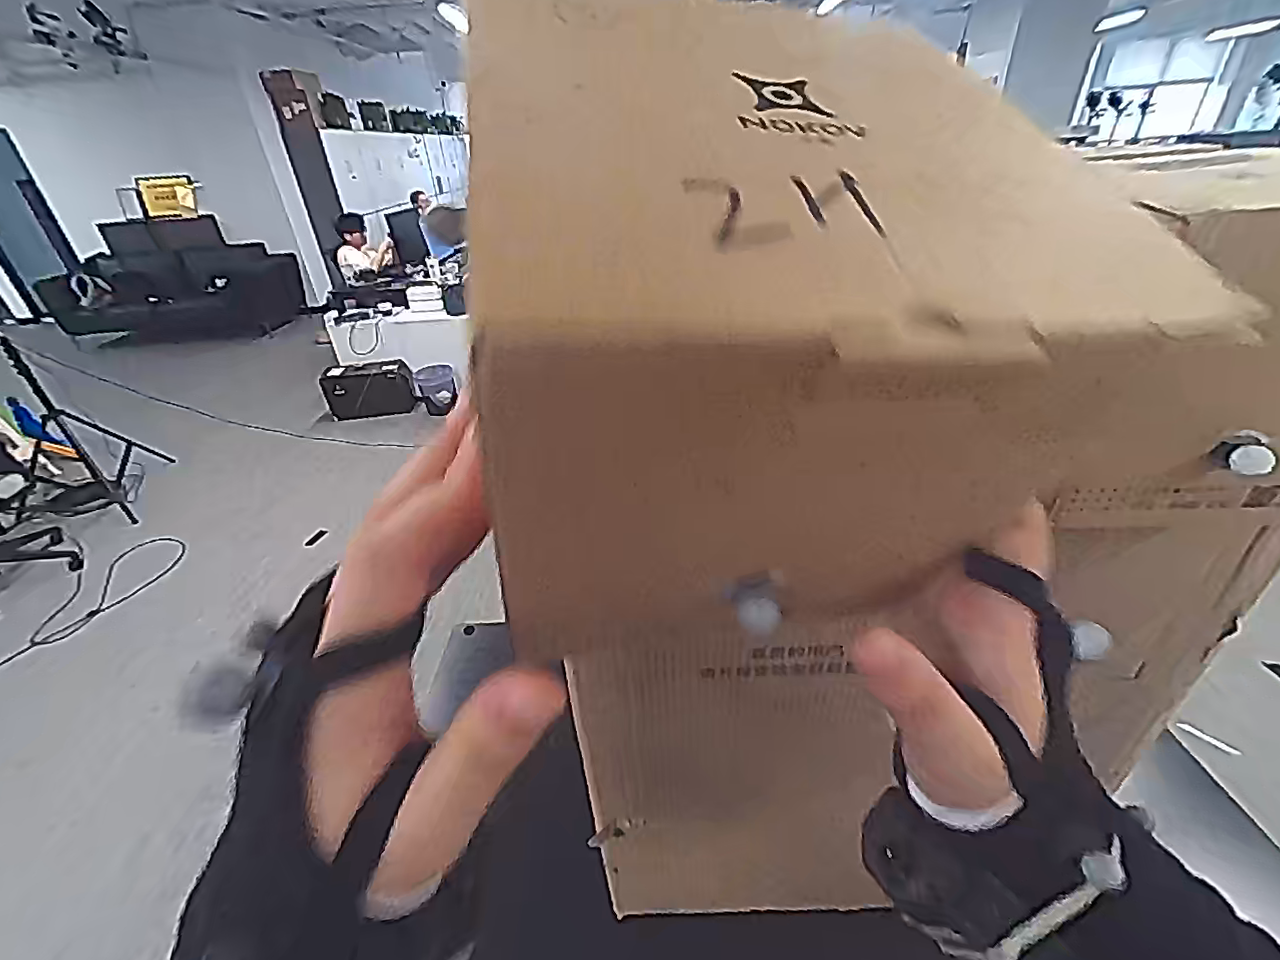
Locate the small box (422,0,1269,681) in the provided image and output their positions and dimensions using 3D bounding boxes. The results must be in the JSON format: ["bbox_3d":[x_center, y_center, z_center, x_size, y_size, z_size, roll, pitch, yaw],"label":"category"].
[{"bbox_3d":[0.023,-0.044,0.203,0.168,0.176,0.179,-6,59,-12],"label":"small box"}]

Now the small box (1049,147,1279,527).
[{"bbox_3d":[0.308,-0.090,0.325,0.168,0.176,0.179,-2,35,7],"label":"small box"}]
